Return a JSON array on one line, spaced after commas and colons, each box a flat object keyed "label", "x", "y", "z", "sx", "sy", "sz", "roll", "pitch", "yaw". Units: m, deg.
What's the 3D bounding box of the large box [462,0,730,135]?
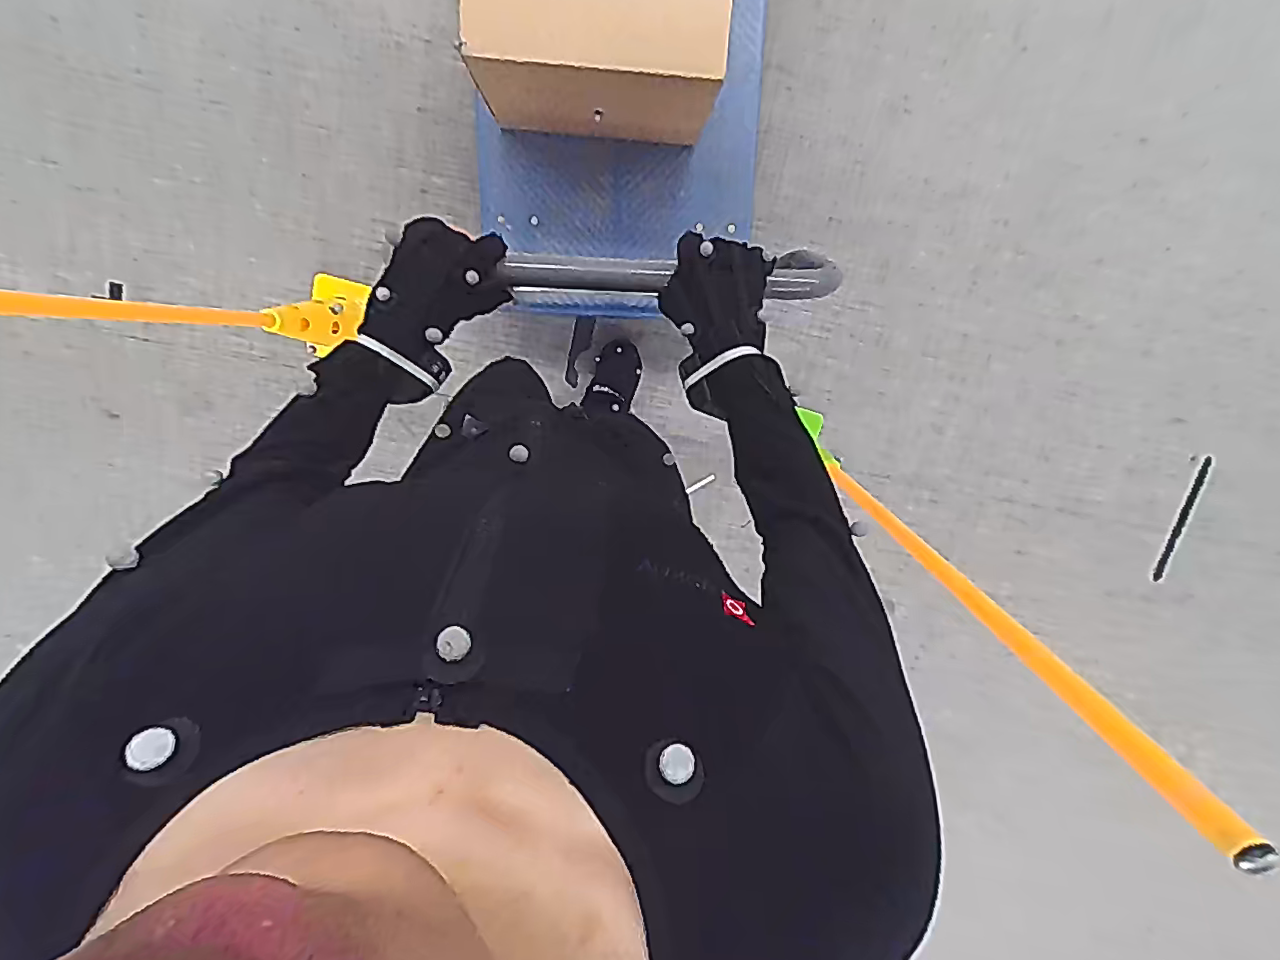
[{"label": "large box", "x": -0.064, "y": -0.821, "z": 0.925, "sx": 0.408, "sy": 0.320, "sz": 0.320, "roll": 3, "pitch": 105, "yaw": -3}]

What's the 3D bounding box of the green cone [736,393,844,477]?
[{"label": "green cone", "x": 0.391, "y": -0.074, "z": 1.304, "sx": 0.202, "sy": 0.368, "sz": 0.200, "roll": 14, "pitch": 104, "yaw": -8}]
